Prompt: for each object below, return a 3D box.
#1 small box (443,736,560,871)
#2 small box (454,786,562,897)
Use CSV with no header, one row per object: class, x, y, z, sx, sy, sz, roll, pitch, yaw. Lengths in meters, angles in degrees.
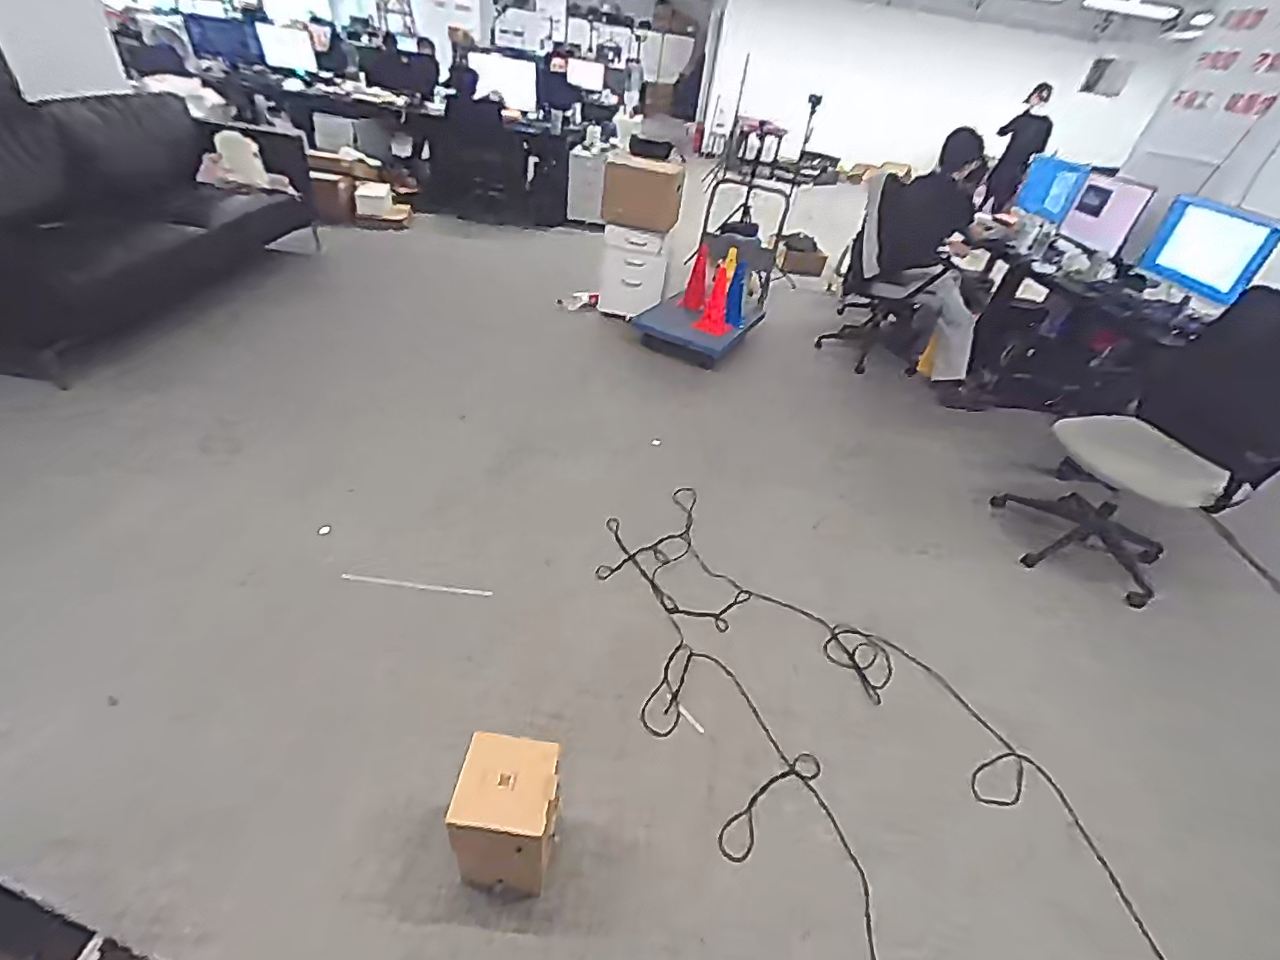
small box,-0.257,0.625,1.041,0.179,0.176,0.168,8,37,0
small box,-0.275,0.749,1.142,0.179,0.176,0.168,12,36,1
